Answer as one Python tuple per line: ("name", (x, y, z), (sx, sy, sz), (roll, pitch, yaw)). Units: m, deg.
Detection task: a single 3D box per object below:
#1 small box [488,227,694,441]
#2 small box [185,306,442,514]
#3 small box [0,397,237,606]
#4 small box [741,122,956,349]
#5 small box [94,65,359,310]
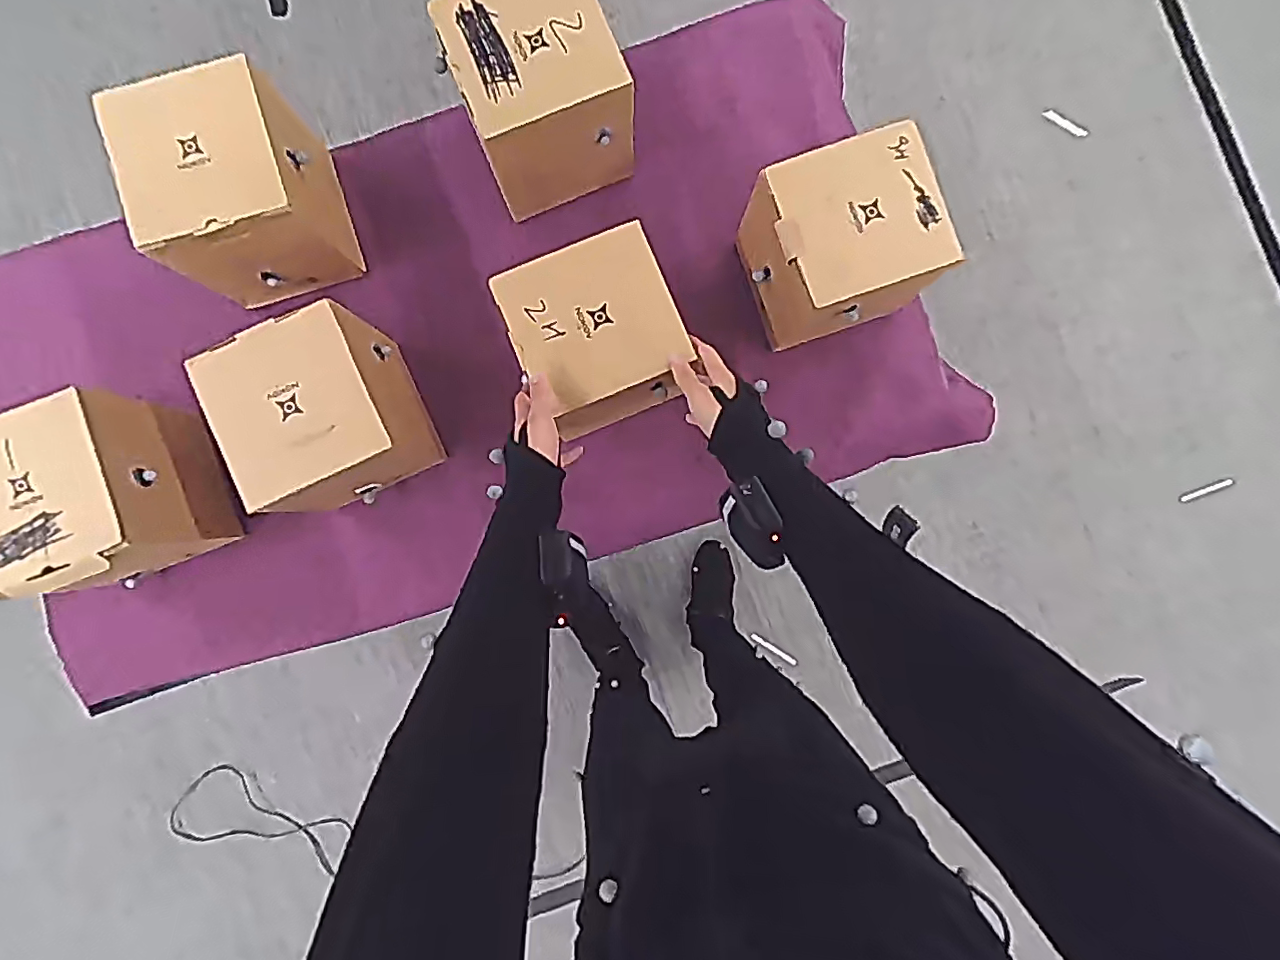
("small box", (-0.053, -0.159, 0.647), (0.179, 0.176, 0.168), (-23, 87, -1))
("small box", (-0.366, -0.069, 0.640), (0.168, 0.176, 0.179), (-25, 88, -1))
("small box", (-0.623, 0.025, 0.630), (0.168, 0.176, 0.179), (-22, 87, -2))
("small box", (0.231, -0.277, 0.656), (0.179, 0.176, 0.168), (-19, 88, 0))
("small box", (-0.472, -0.332, 0.646), (0.168, 0.176, 0.179), (-18, 88, -2))
